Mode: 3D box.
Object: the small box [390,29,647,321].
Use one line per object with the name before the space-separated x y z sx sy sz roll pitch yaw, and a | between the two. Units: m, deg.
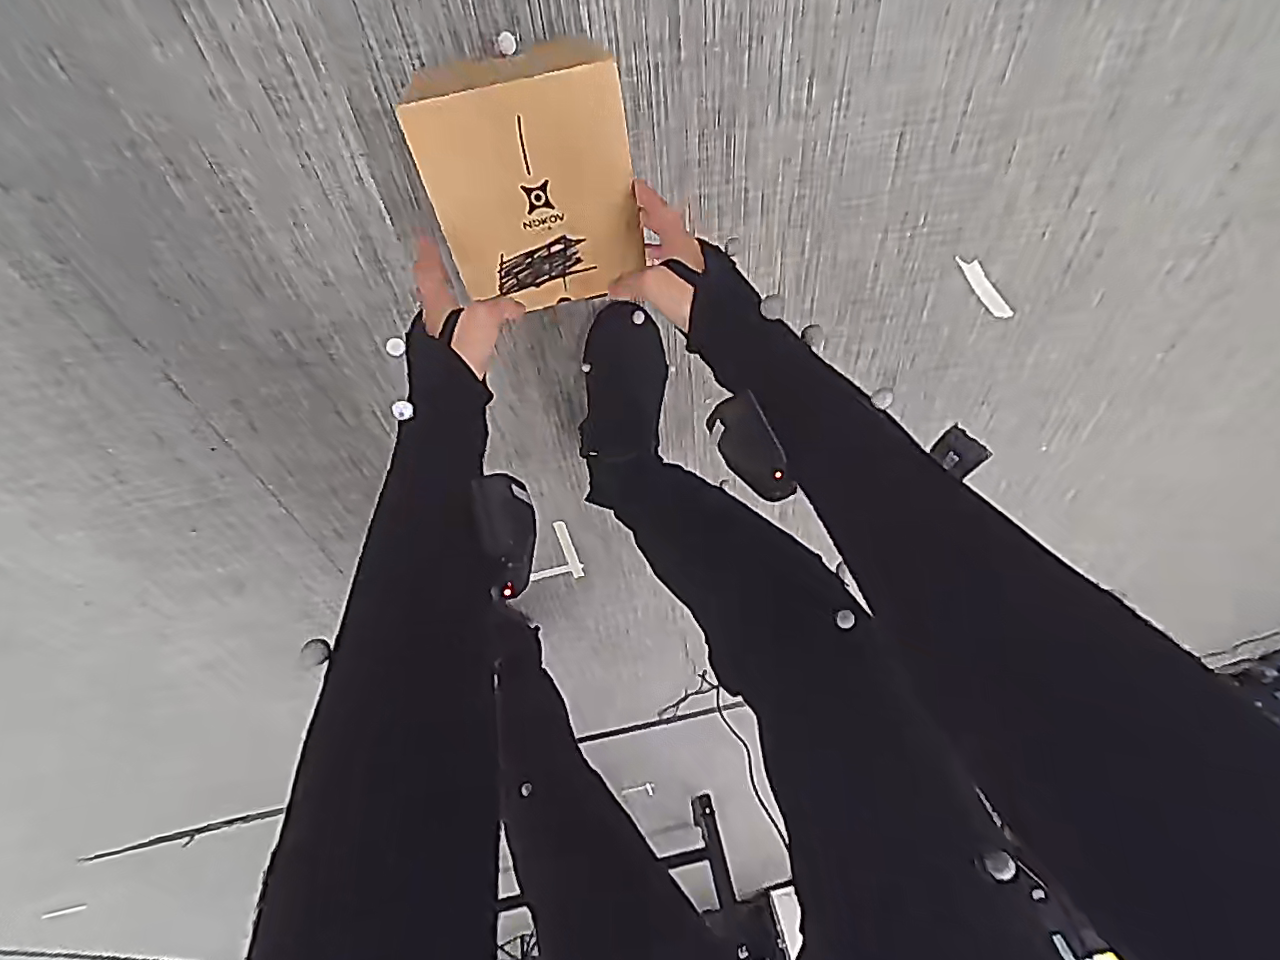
small box | -0.097 -0.275 0.488 0.168 0.176 0.179 -14 134 -3
